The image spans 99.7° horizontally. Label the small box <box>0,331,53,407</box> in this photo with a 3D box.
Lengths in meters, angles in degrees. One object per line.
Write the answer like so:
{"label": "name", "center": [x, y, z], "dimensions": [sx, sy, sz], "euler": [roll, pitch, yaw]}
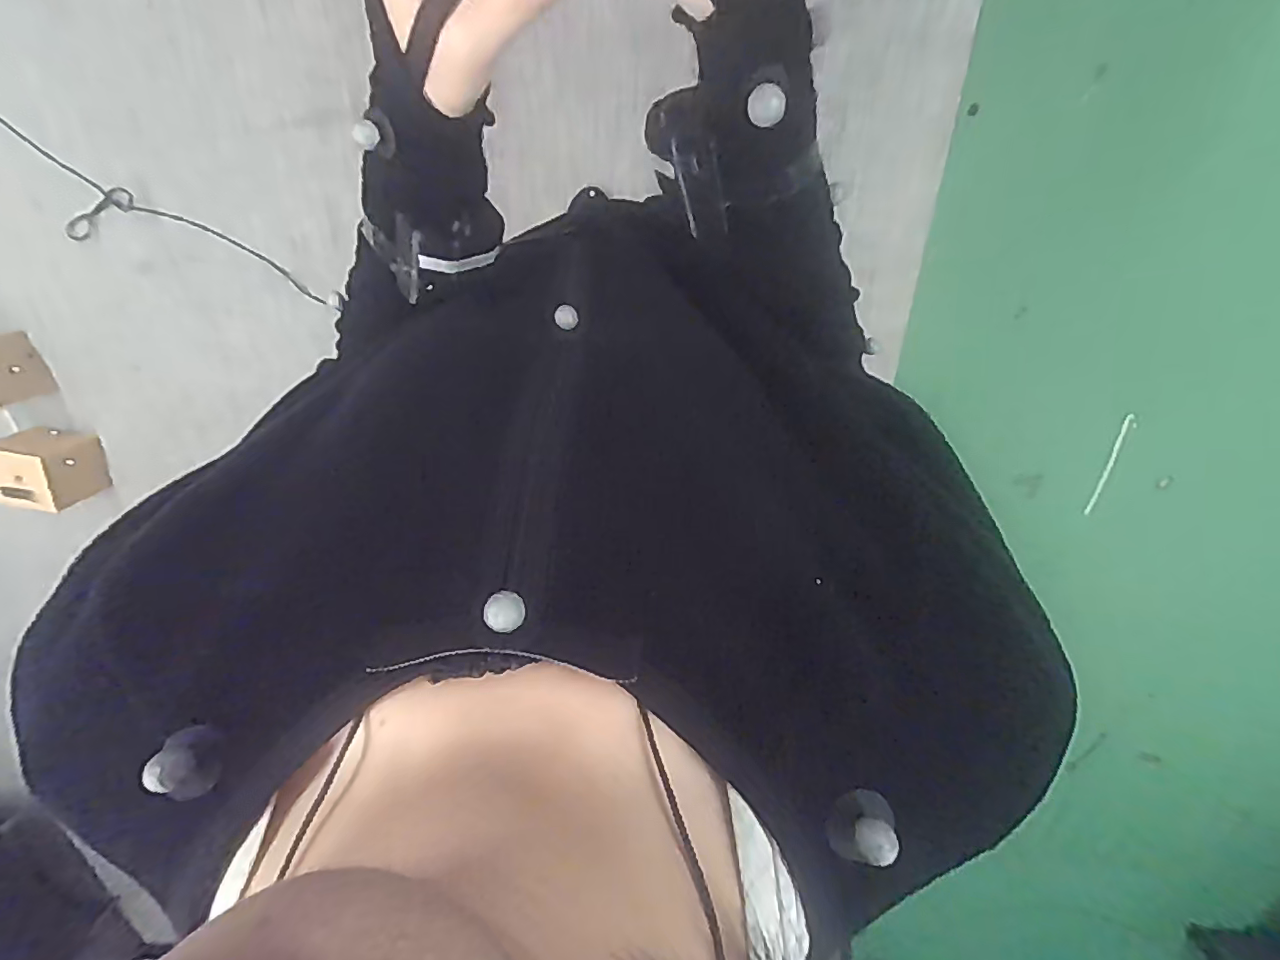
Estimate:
{"label": "small box", "center": [-1.715, -0.287, 1.412], "dimensions": [0.179, 0.176, 0.168], "euler": [-5, 116, 4]}
